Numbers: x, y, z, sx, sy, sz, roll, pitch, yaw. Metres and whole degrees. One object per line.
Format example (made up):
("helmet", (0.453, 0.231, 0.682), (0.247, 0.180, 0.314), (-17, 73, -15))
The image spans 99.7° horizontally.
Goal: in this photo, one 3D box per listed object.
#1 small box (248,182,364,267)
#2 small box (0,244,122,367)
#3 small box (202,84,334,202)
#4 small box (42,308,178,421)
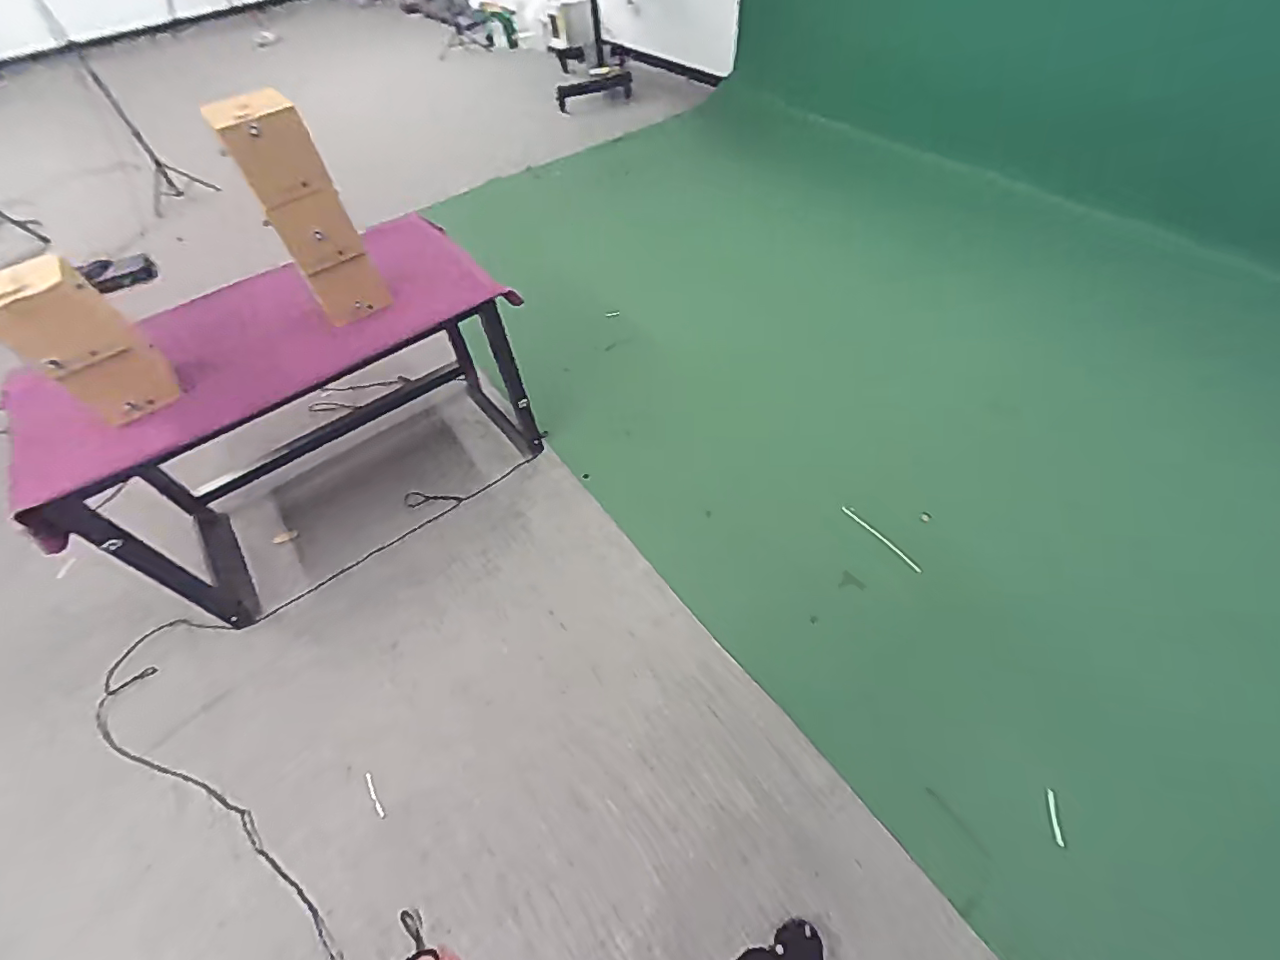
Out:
("small box", (-0.824, -0.657, 1.347), (0.168, 0.176, 0.179), (-32, 57, -19))
("small box", (-1.271, -0.368, 1.162), (0.168, 0.176, 0.179), (-33, 56, -19))
("small box", (-0.832, -0.758, 1.219), (0.168, 0.176, 0.179), (-35, 57, -19))
("small box", (-1.265, -0.275, 1.296), (0.168, 0.176, 0.179), (-33, 57, -19))
